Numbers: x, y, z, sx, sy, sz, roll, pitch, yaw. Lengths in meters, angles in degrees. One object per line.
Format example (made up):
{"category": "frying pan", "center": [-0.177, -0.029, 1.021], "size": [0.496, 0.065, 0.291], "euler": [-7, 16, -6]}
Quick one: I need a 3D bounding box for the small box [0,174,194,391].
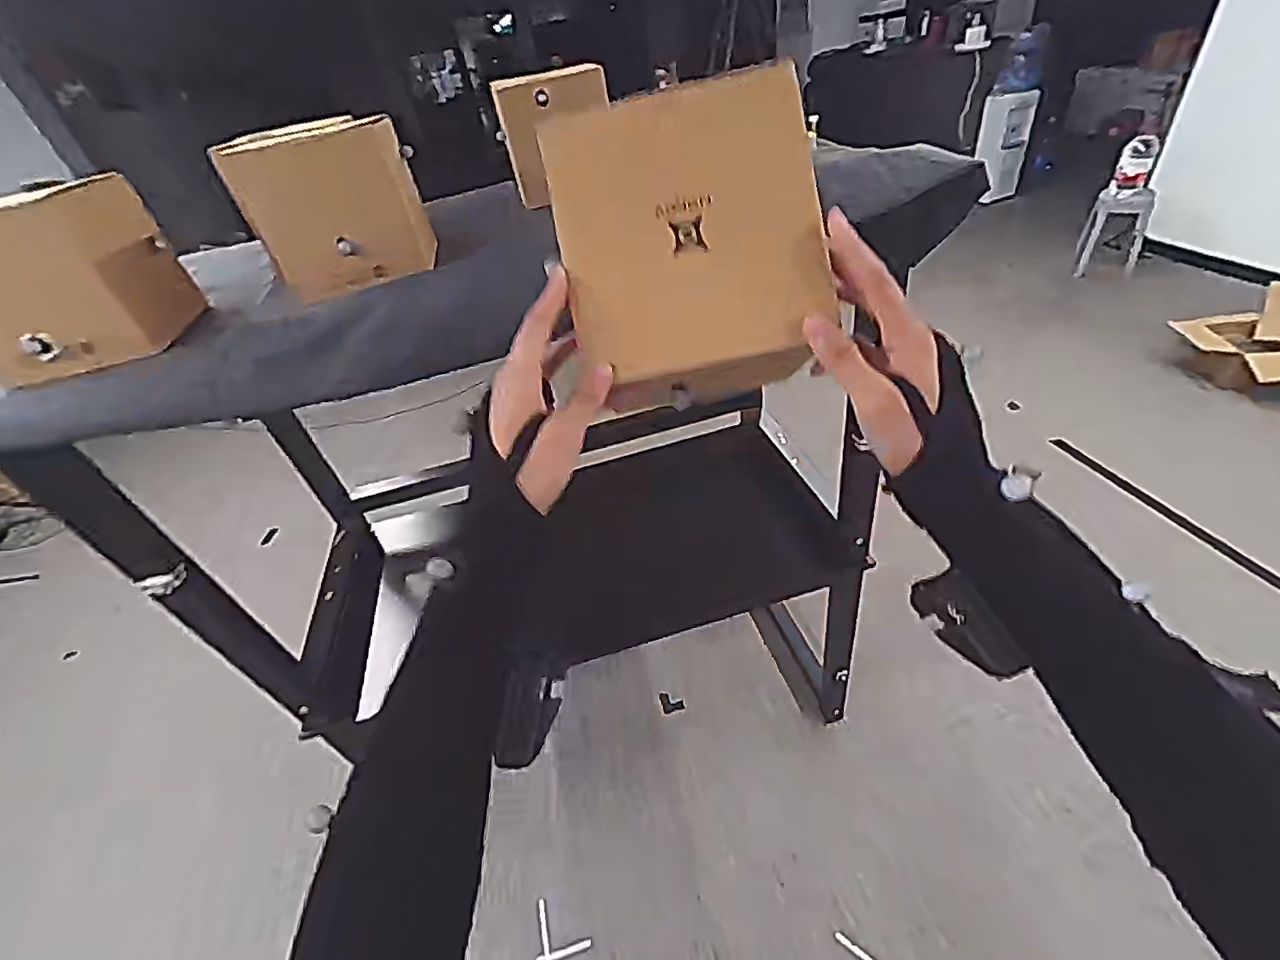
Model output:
{"category": "small box", "center": [-0.655, -0.223, 0.604], "size": [0.168, 0.176, 0.179], "euler": [-18, 39, -7]}

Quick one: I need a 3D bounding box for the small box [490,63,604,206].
{"category": "small box", "center": [-0.142, -0.571, 0.897], "size": [0.168, 0.176, 0.179], "euler": [-17, 39, -6]}

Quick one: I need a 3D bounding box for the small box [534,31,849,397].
{"category": "small box", "center": [0.036, -0.165, 0.403], "size": [0.168, 0.179, 0.176], "euler": [-11, -2, 4]}
